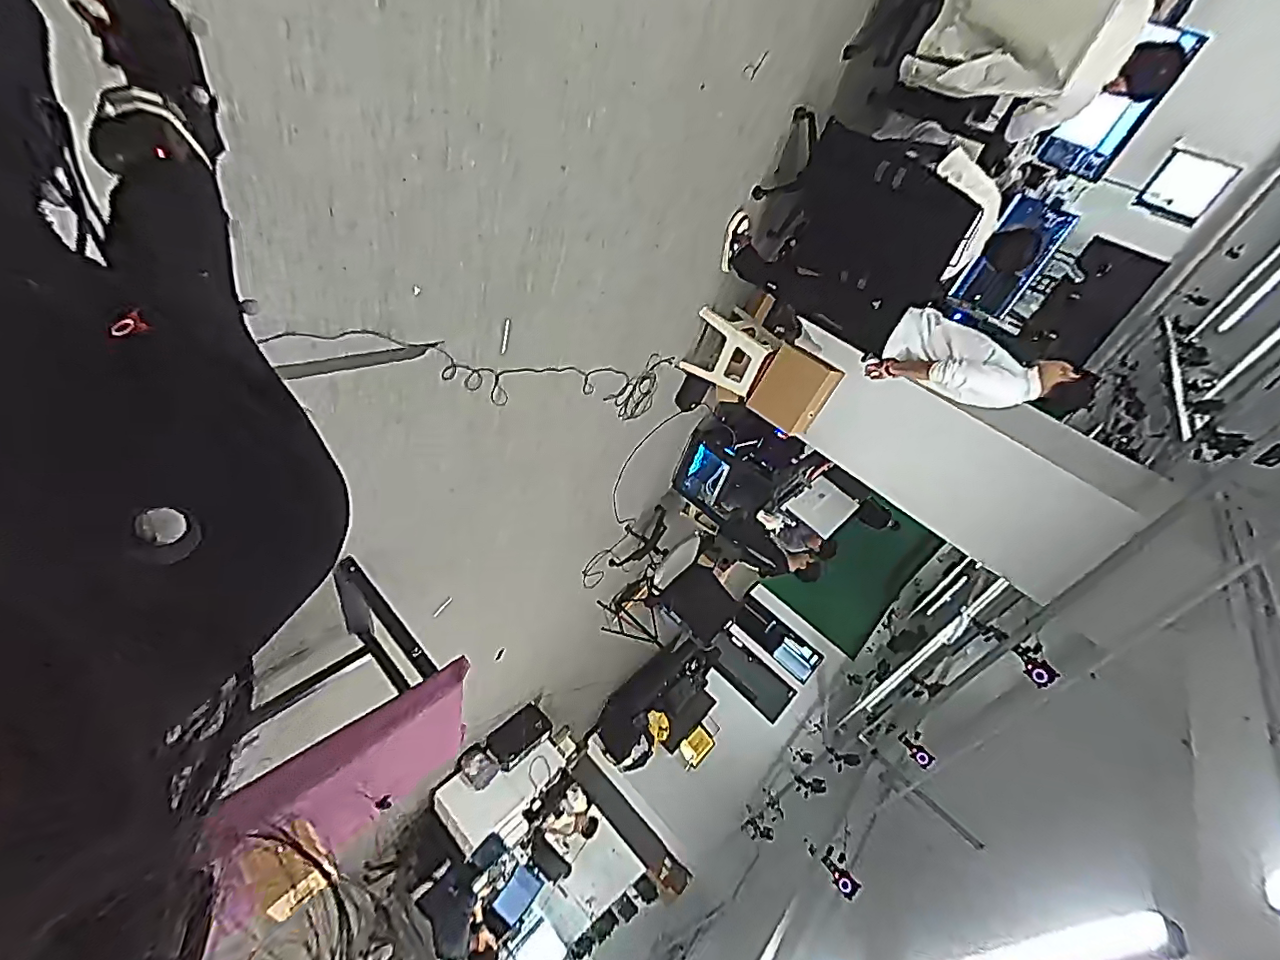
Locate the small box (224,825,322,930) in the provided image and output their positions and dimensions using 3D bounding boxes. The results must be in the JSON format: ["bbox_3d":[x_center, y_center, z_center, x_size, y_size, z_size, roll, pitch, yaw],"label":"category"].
[{"bbox_3d":[-1.060,1.145,1.566,0.168,0.176,0.179,-31,150,-39],"label":"small box"}]
